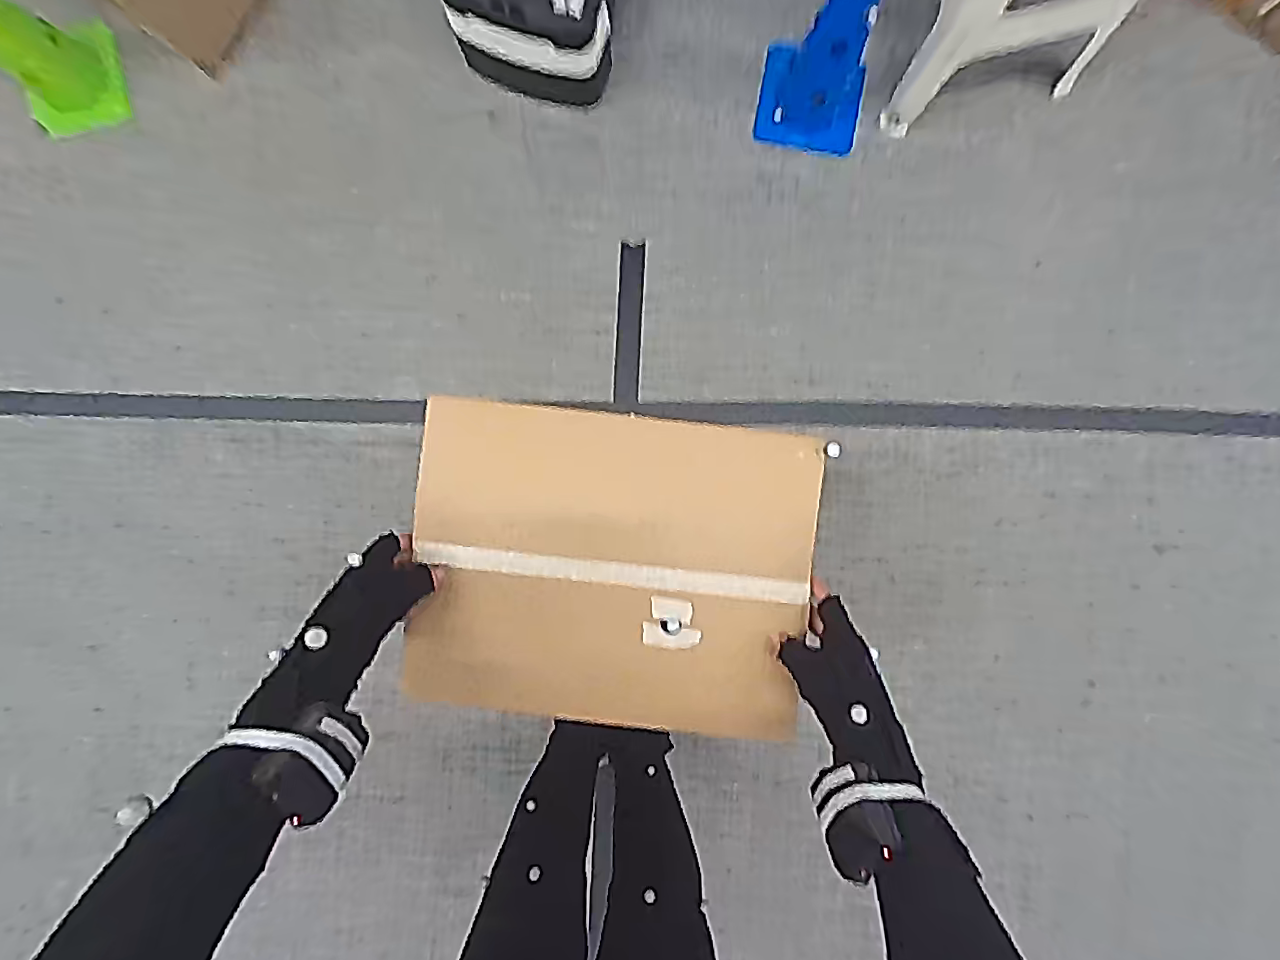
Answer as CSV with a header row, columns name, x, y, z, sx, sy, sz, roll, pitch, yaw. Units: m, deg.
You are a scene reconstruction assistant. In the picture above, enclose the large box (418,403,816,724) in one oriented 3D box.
name,x,y,z,sx,sy,sz,roll,pitch,yaw
large box,-0.027,0.088,0.716,0.408,0.320,0.320,6,91,0
